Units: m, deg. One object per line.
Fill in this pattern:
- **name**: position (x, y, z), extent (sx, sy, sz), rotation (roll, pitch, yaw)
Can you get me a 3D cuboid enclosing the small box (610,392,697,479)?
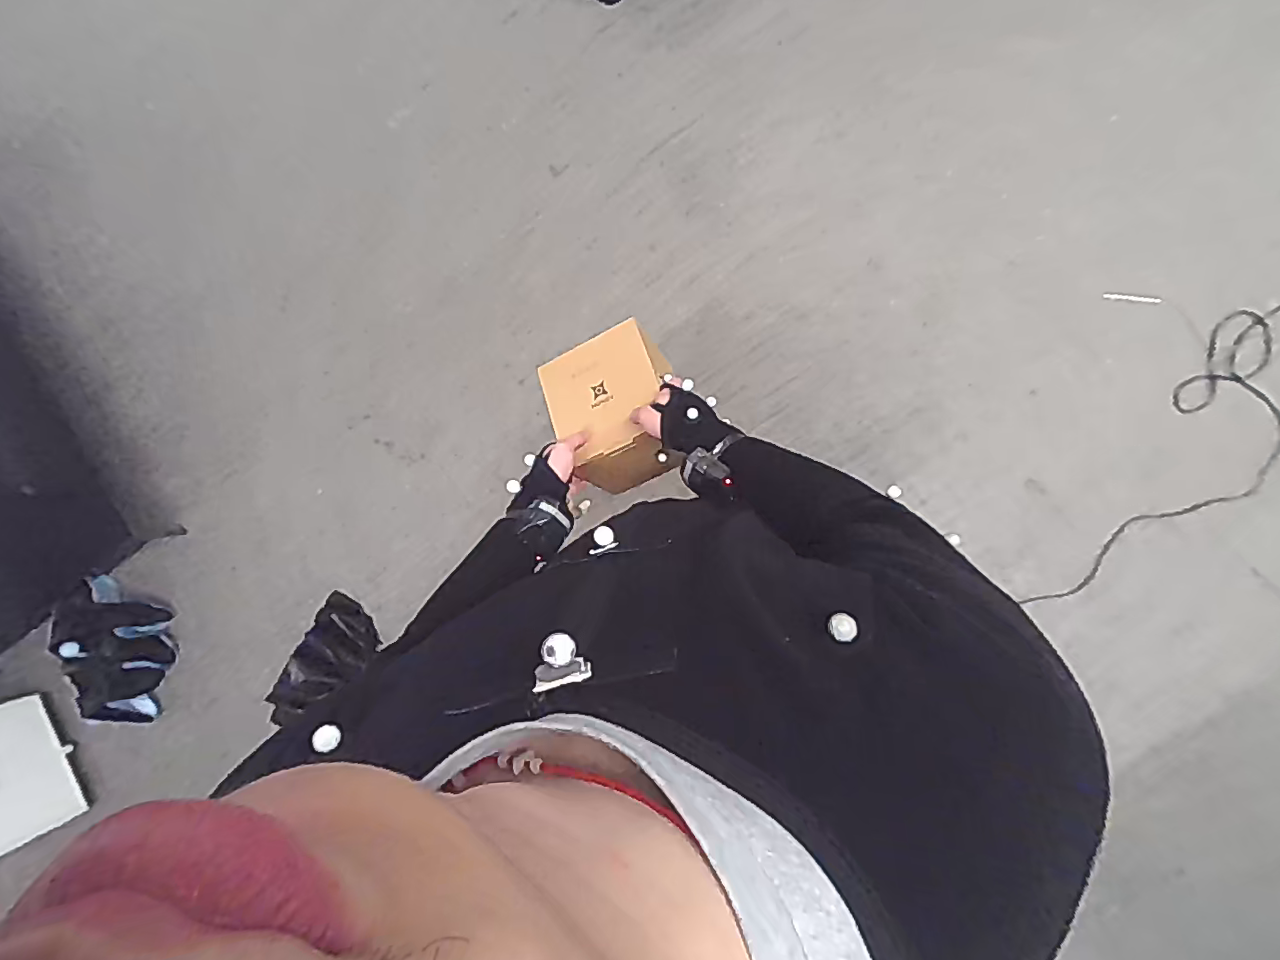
- **small box**: position (0.041, -0.114, 1.481), extent (0.168, 0.176, 0.179), rotation (-34, 86, 5)
